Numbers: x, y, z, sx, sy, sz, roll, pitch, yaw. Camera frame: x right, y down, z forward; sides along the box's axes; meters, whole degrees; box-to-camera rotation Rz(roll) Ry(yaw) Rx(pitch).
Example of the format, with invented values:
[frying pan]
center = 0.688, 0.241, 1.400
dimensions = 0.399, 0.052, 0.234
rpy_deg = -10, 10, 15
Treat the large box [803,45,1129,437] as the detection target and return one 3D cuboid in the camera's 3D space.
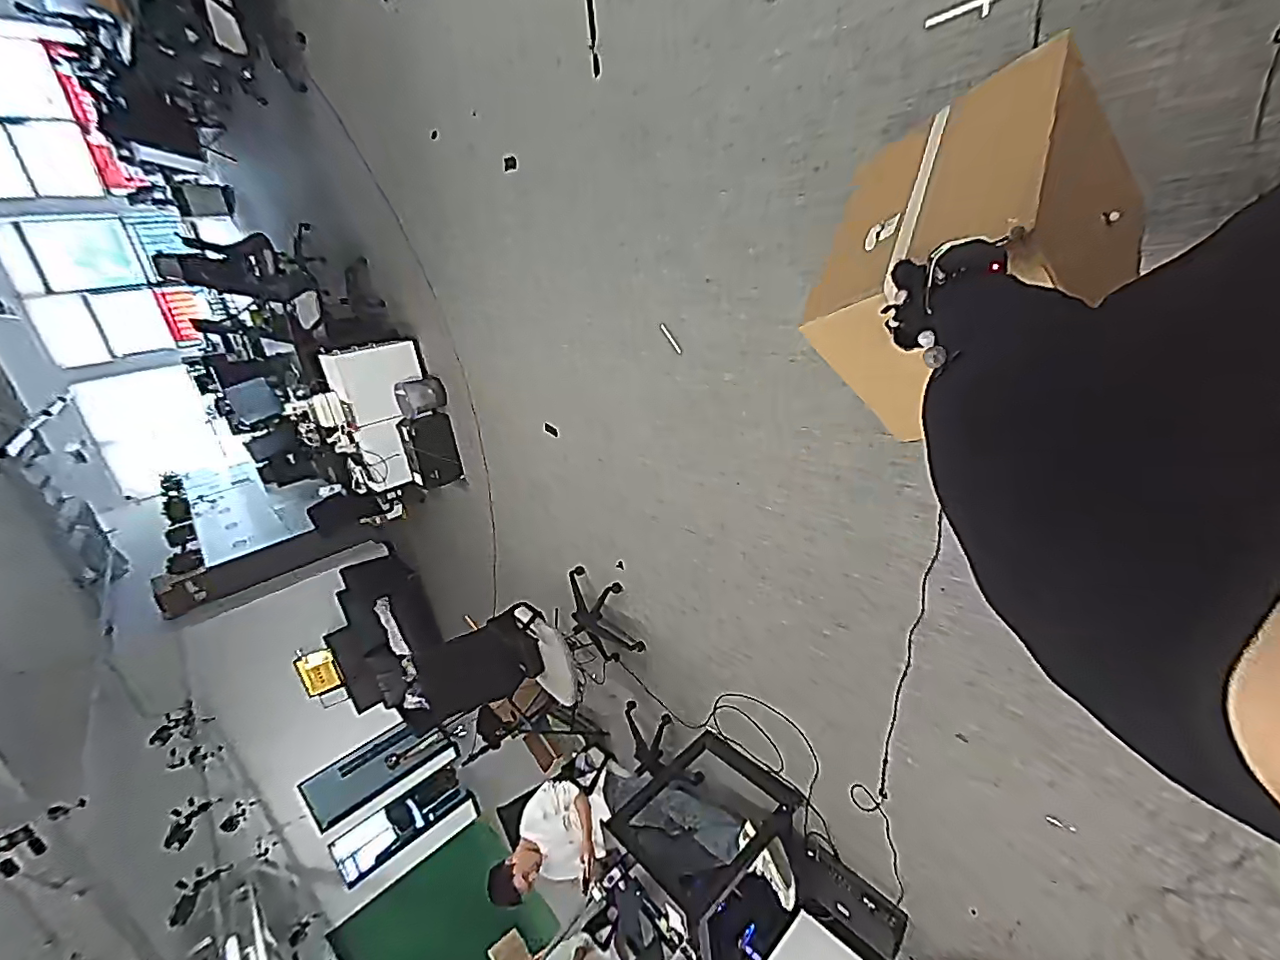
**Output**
[large box]
center = 0.515, -0.333, 0.842
dimensions = 0.320, 0.408, 0.320
rpy_deg = 36, 155, -25
